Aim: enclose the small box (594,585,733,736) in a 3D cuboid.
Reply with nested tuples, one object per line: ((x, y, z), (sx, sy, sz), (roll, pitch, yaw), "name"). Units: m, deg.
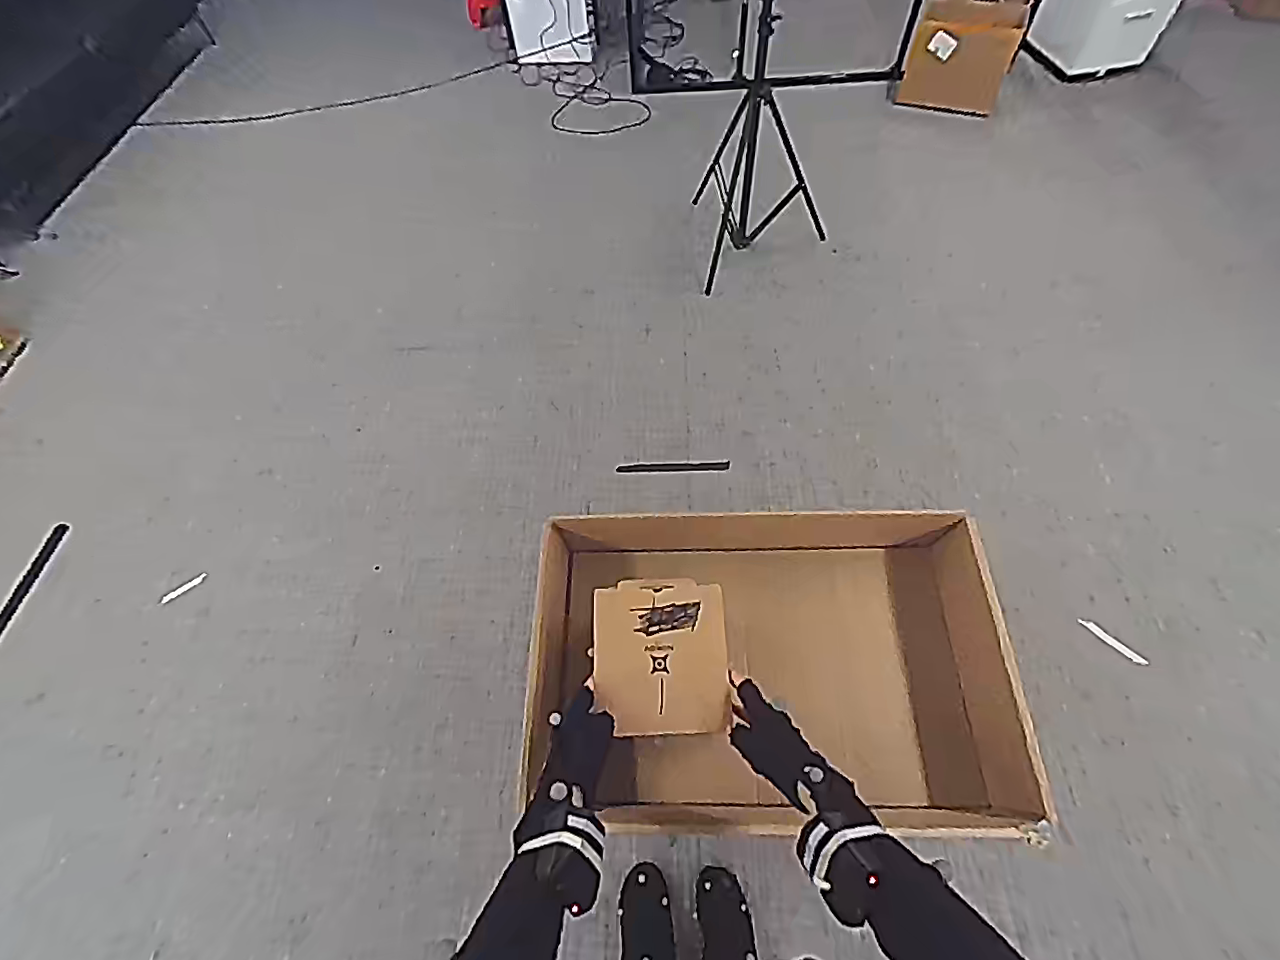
((0.028, 0.250, 0.737), (0.168, 0.176, 0.179), (-3, 66, 2), "small box")
